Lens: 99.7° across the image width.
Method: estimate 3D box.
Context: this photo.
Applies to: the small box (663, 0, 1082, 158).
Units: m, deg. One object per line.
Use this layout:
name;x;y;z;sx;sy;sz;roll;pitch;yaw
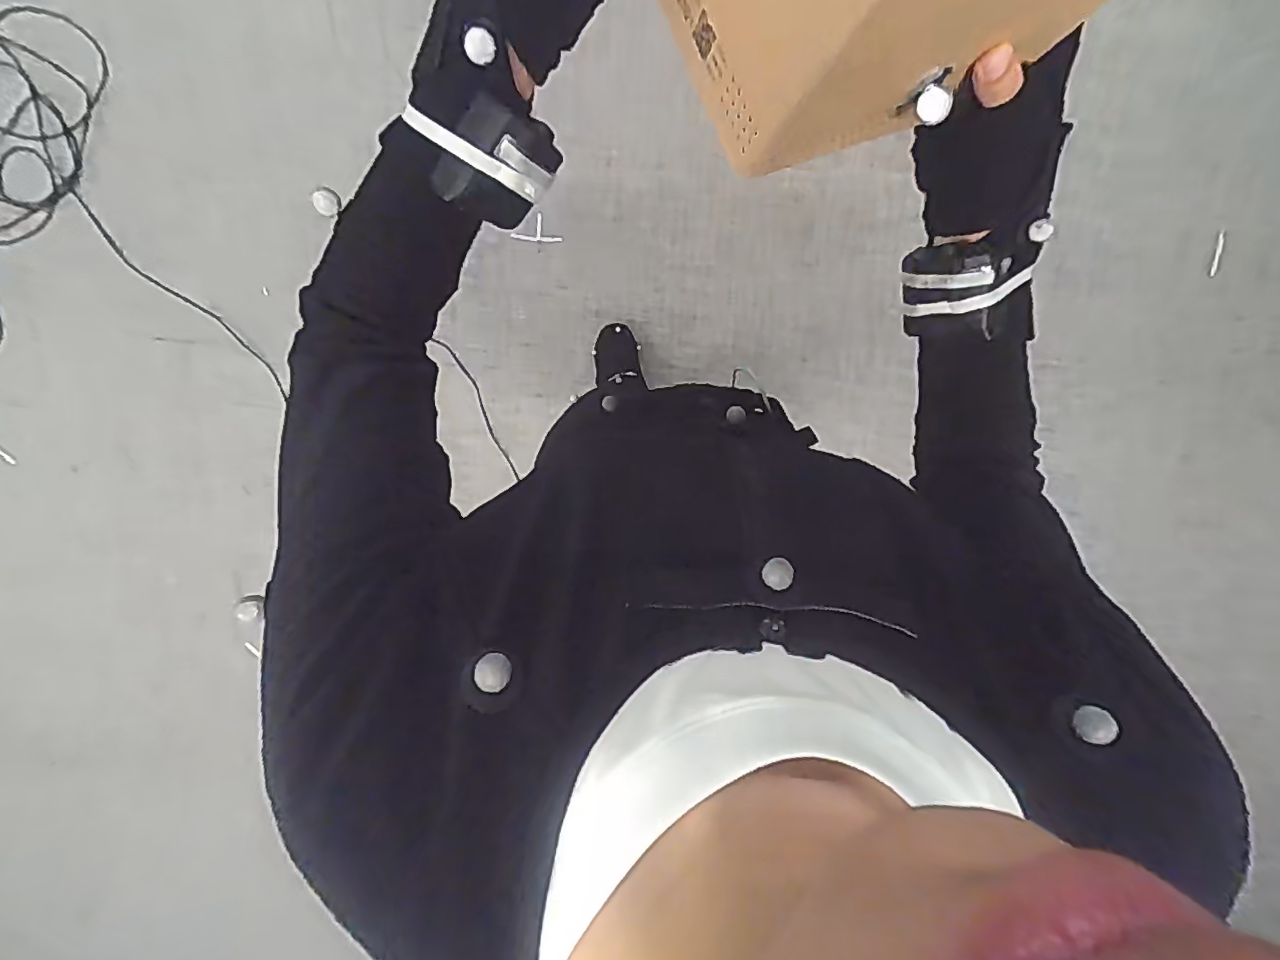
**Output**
small box;0.110;-0.264;0.205;0.179;0.176;0.168;-25;95;-15
